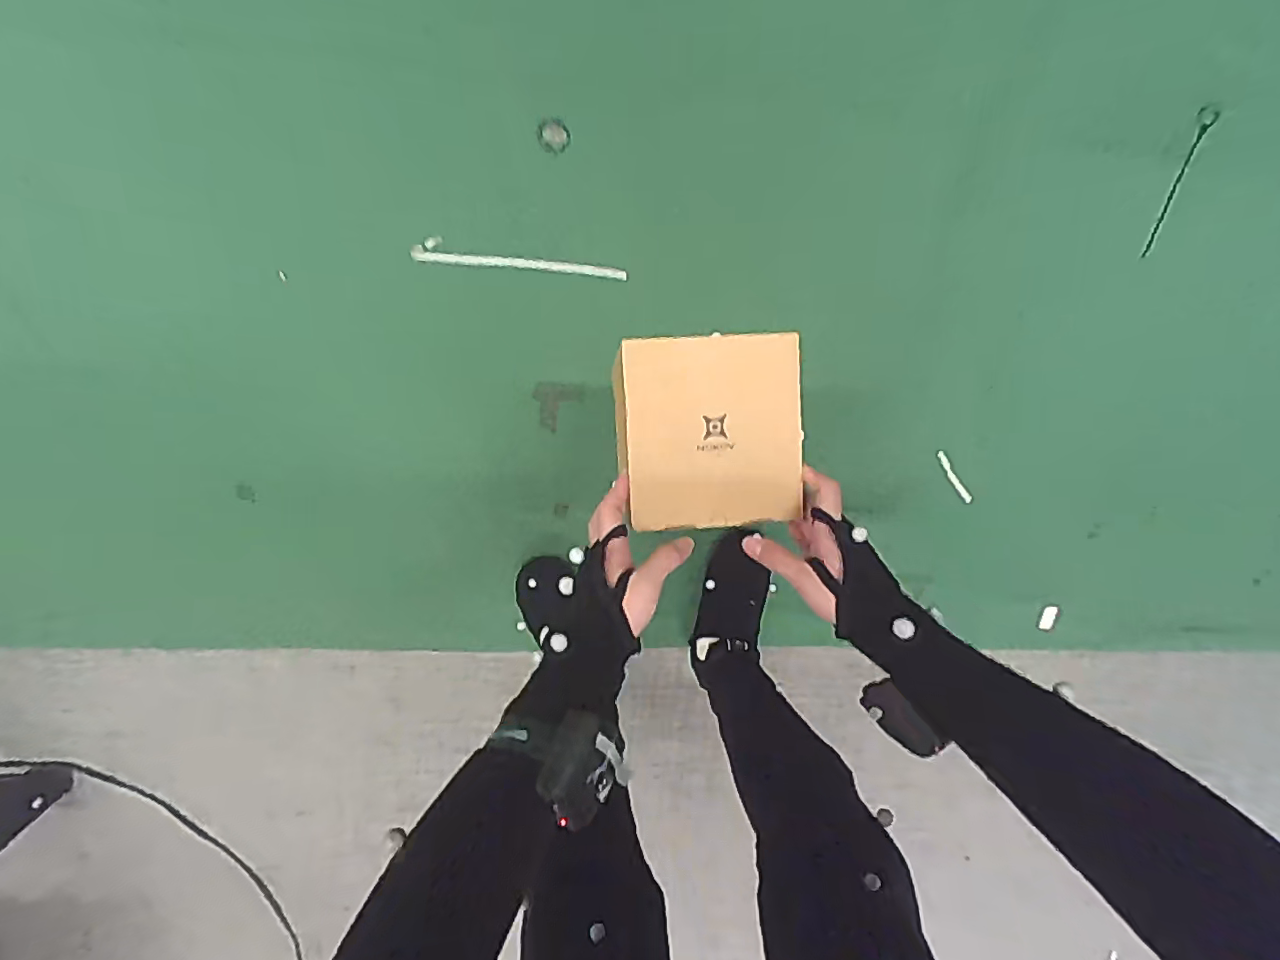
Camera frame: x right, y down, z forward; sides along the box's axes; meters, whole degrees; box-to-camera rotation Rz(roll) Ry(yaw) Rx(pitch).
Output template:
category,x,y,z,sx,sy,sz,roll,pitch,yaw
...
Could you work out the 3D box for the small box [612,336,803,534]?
category,x,y,z,sx,sy,sz,roll,pitch,yaw
small box,0.060,-0.047,0.568,0.168,0.176,0.179,-3,96,-6
